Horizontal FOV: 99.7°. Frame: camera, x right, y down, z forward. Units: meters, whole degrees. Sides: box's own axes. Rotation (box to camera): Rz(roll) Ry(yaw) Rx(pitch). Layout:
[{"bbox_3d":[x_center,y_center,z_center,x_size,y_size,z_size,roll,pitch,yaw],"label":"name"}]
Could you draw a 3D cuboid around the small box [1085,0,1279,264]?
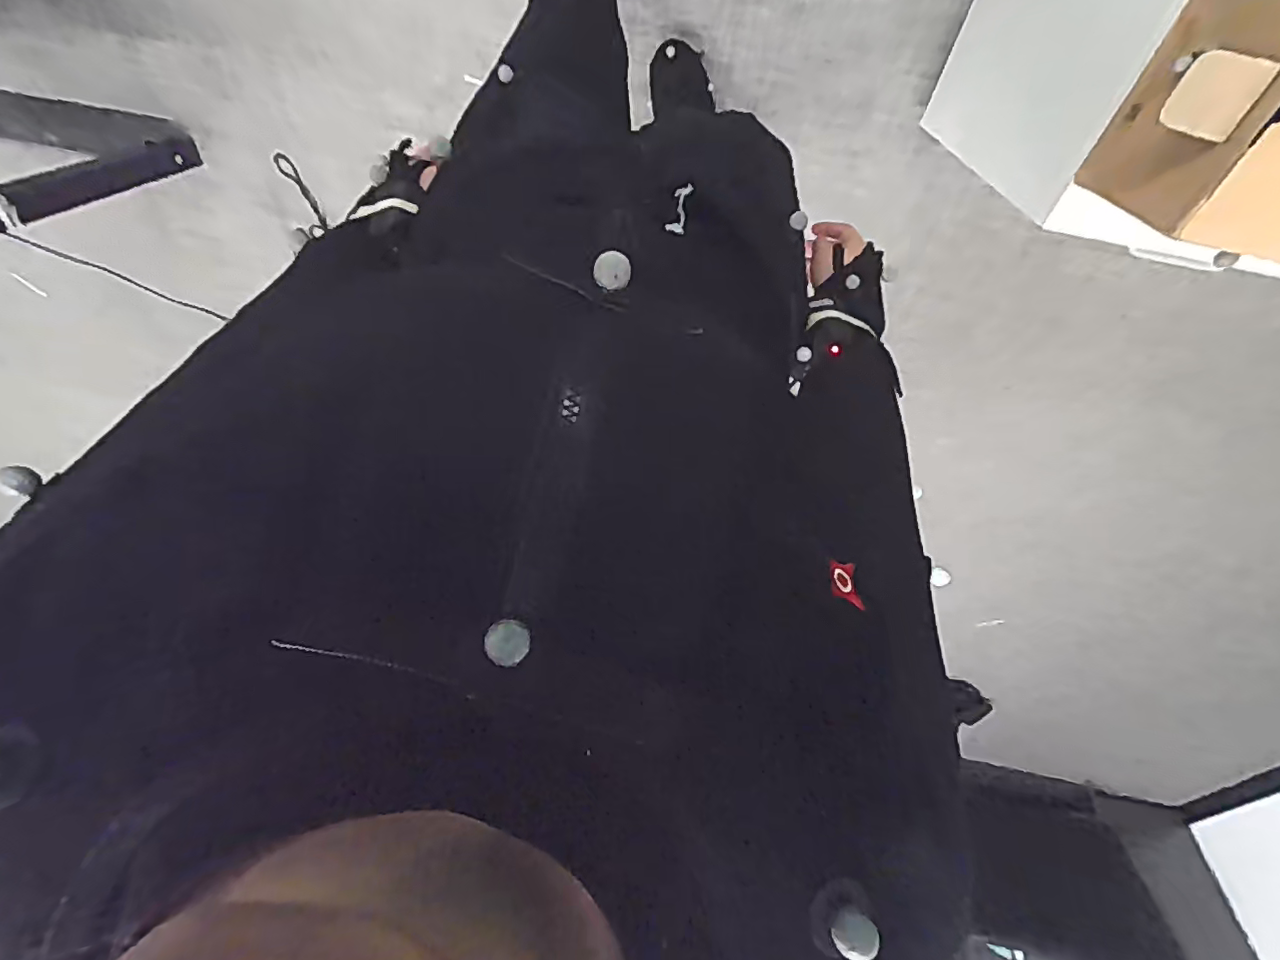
[{"bbox_3d":[0.501,-0.271,0.402,0.179,0.176,0.168,12,133,0],"label":"small box"}]
